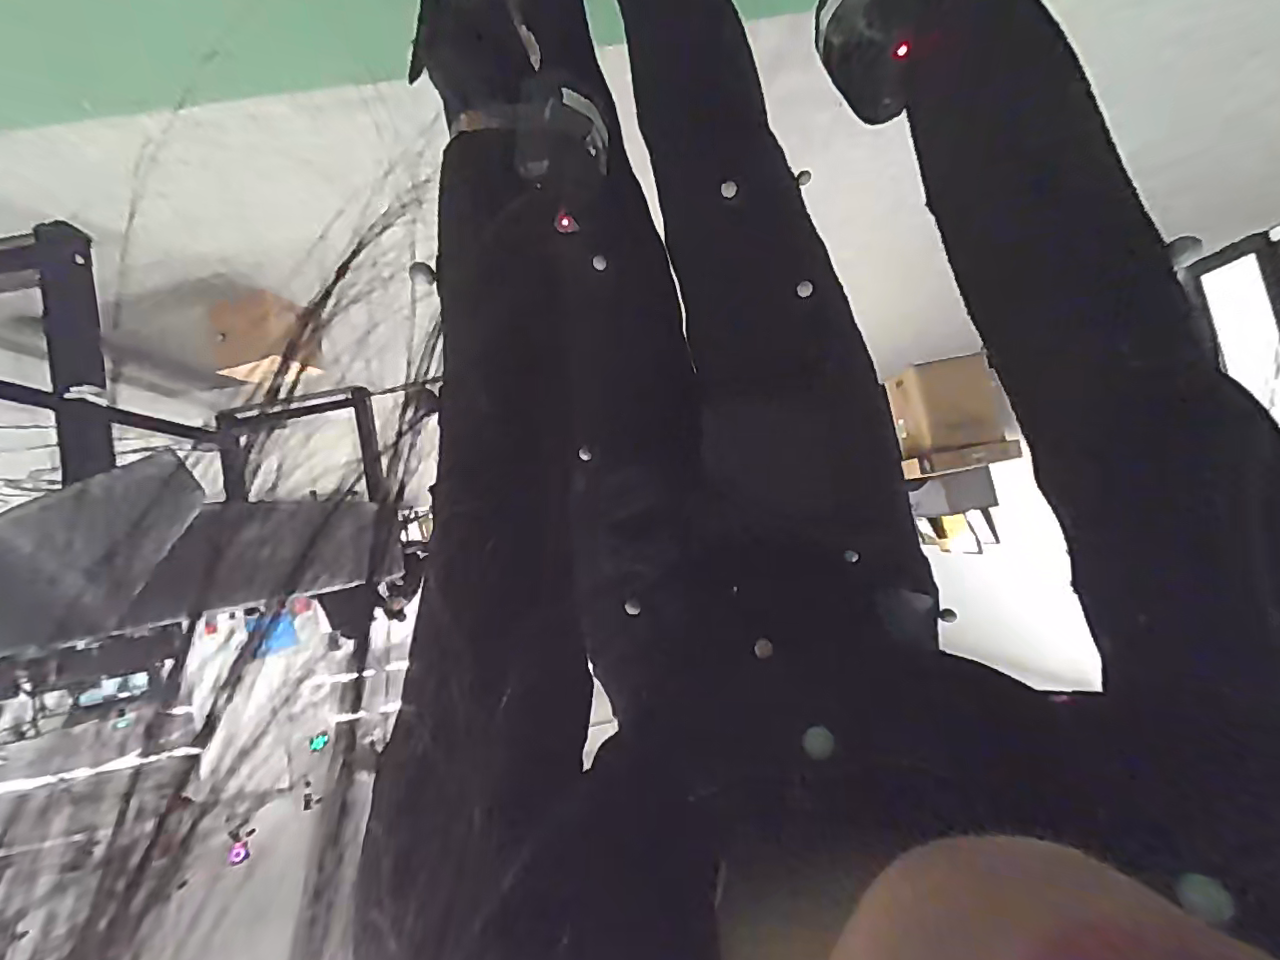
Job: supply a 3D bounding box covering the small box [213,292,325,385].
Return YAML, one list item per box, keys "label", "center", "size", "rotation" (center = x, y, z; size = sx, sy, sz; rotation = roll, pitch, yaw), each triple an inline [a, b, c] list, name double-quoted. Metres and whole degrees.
- label: "small box"
  center: [-0.944, -0.356, 1.376]
  size: [0.179, 0.176, 0.168]
  rotation: [-11, 176, 9]
